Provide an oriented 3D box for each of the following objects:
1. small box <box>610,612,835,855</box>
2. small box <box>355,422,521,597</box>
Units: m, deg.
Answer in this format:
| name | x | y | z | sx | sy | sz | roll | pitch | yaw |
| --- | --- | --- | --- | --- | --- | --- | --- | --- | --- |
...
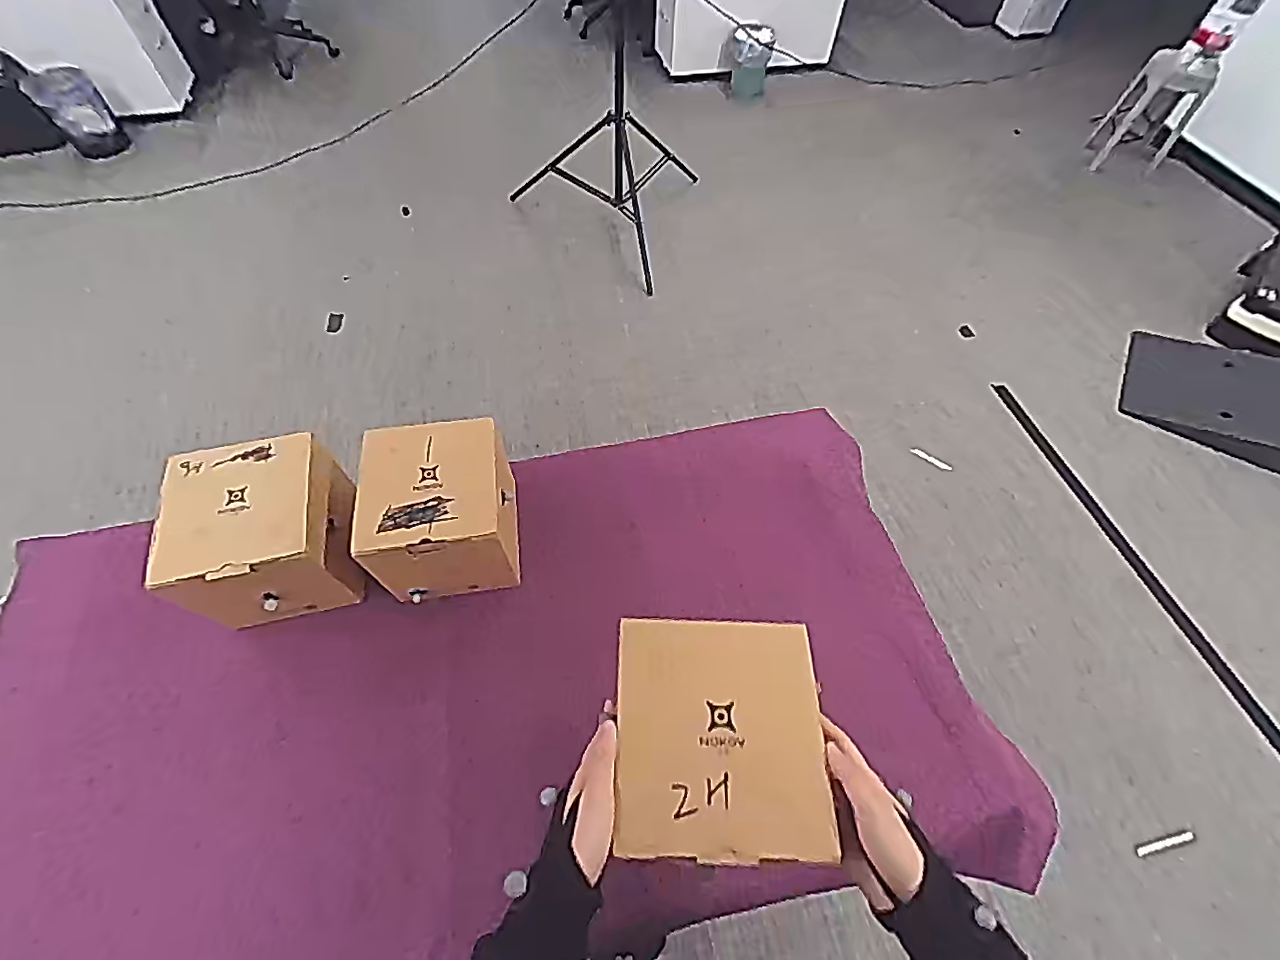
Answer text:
| name | x | y | z | sx | sy | sz | roll | pitch | yaw |
| --- | --- | --- | --- | --- | --- | --- | --- | --- | --- |
| small box | 0.059 | 0.238 | 0.500 | 0.168 | 0.176 | 0.179 | 2 | 56 | -1 |
| small box | -0.257 | 0.048 | 0.727 | 0.168 | 0.176 | 0.179 | -7 | 59 | -7 |
